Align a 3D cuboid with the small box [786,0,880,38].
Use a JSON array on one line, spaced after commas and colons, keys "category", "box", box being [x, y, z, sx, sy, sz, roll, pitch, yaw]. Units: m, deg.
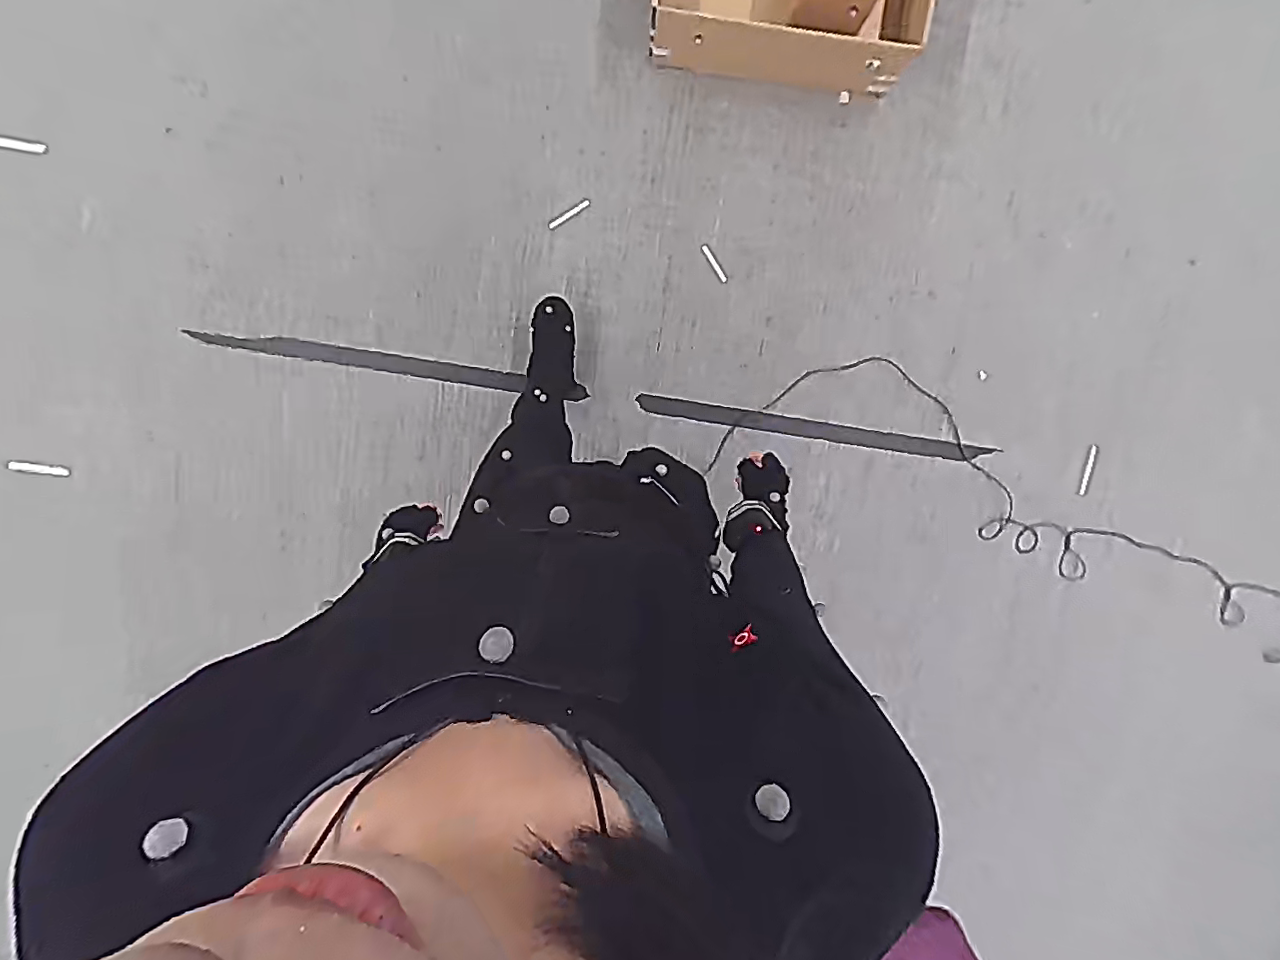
[{"category": "small box", "box": [0.449, -1.146, 1.222, 0.179, 0.176, 0.168, 6, 98, -1]}]
